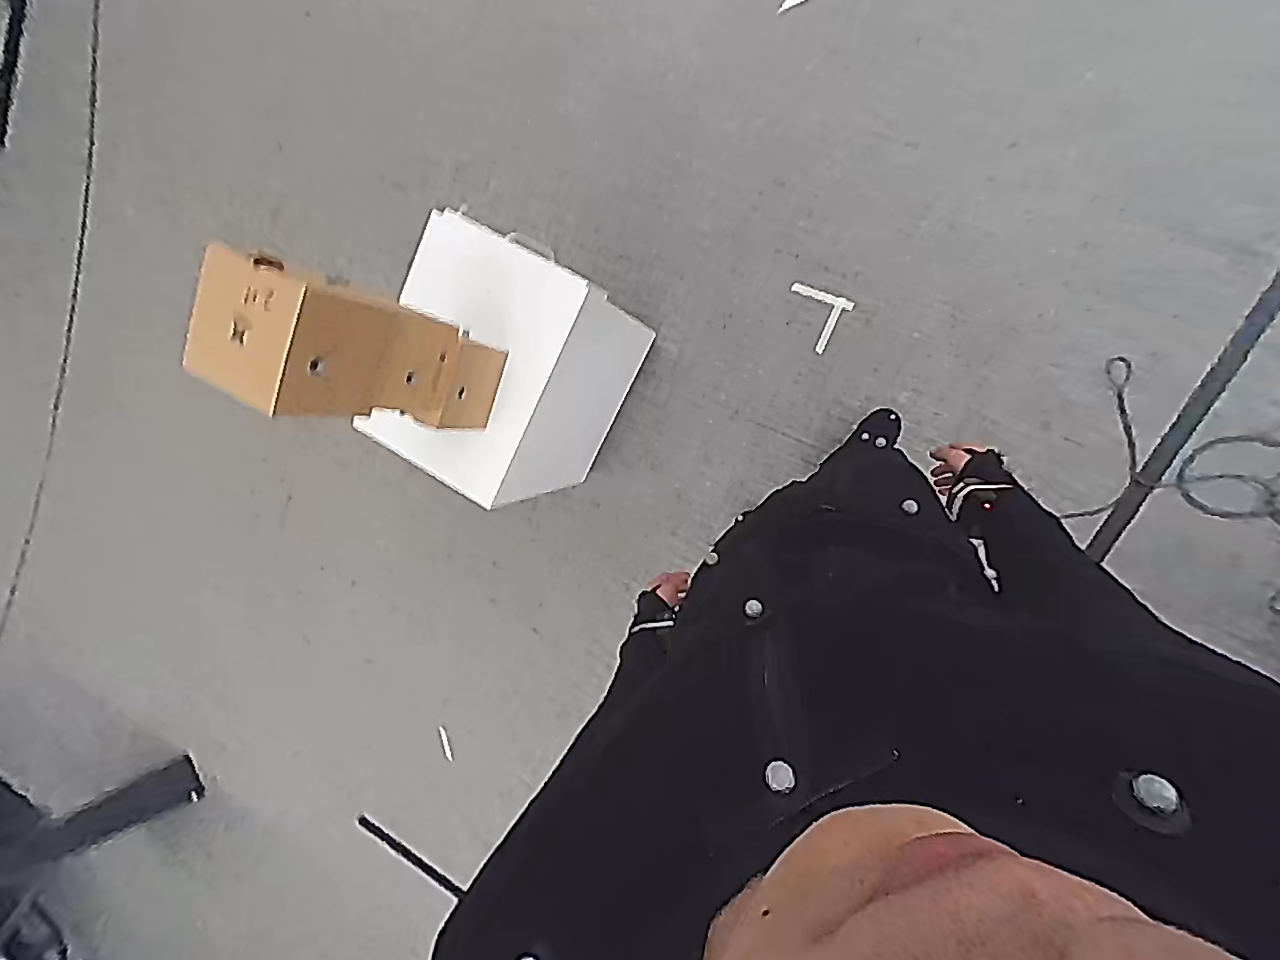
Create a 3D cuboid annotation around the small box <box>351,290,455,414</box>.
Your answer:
[{"bbox_3d":[-0.447,-0.219,0.919,0.179,0.176,0.168,23,101,13],"label":"small box"}]

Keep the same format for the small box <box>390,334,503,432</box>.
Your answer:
[{"bbox_3d":[-0.399,-0.204,1.077,0.168,0.176,0.179,22,100,12],"label":"small box"}]

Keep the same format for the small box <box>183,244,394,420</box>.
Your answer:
[{"bbox_3d":[-0.481,-0.195,0.759,0.168,0.176,0.179,26,102,12],"label":"small box"}]
